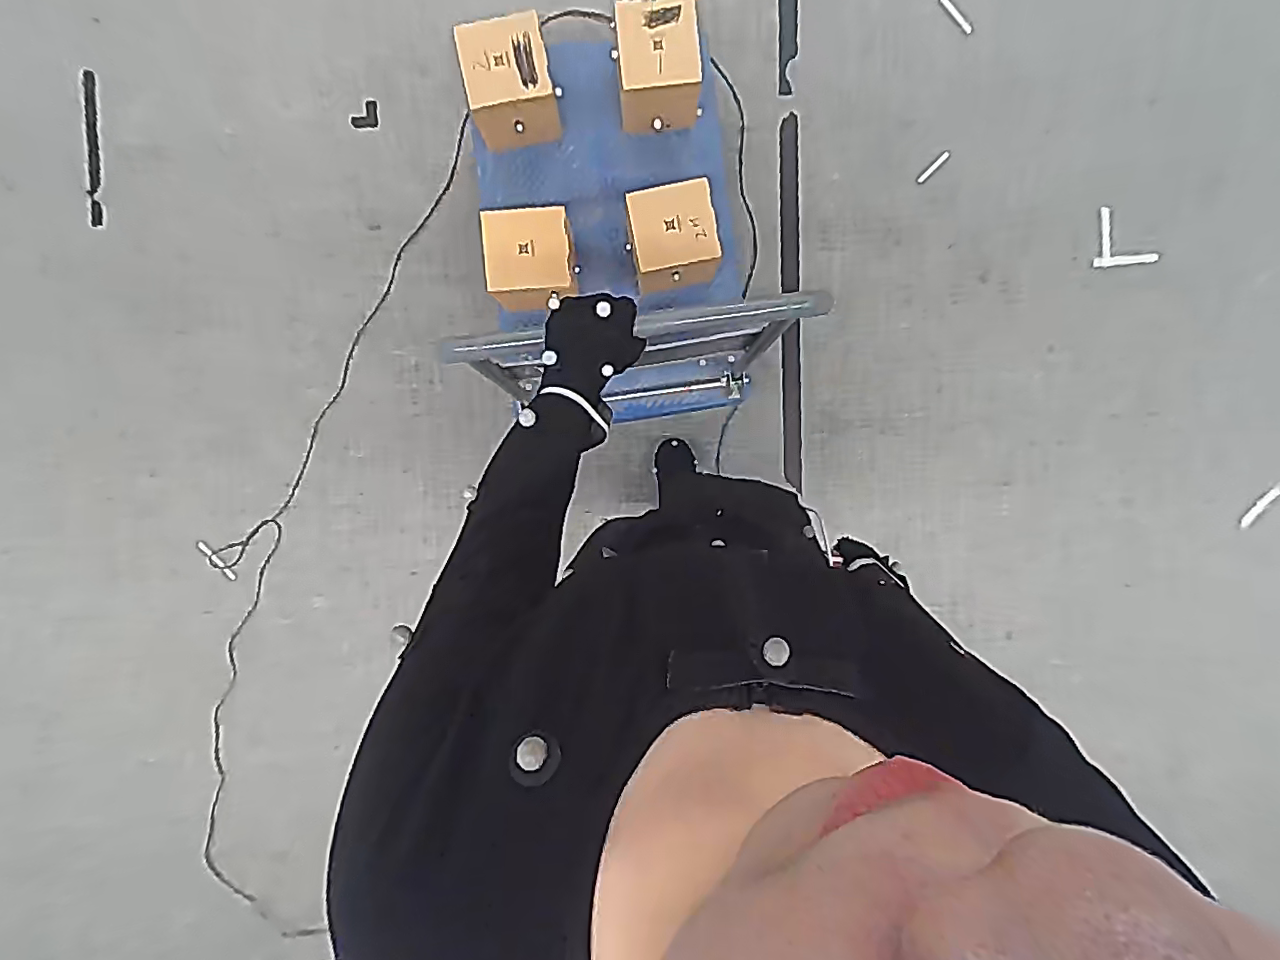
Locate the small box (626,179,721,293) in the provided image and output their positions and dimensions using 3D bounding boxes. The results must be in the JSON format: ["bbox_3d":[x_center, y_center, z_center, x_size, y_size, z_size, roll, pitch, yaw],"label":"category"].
[{"bbox_3d":[0.071,-0.528,1.195,0.179,0.176,0.168,-11,93,0],"label":"small box"}]

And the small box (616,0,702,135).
[{"bbox_3d":[0.037,-0.892,1.175,0.168,0.176,0.179,-6,94,0],"label":"small box"}]

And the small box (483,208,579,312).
[{"bbox_3d":[-0.235,-0.478,1.196,0.179,0.176,0.168,-5,93,-2],"label":"small box"}]
